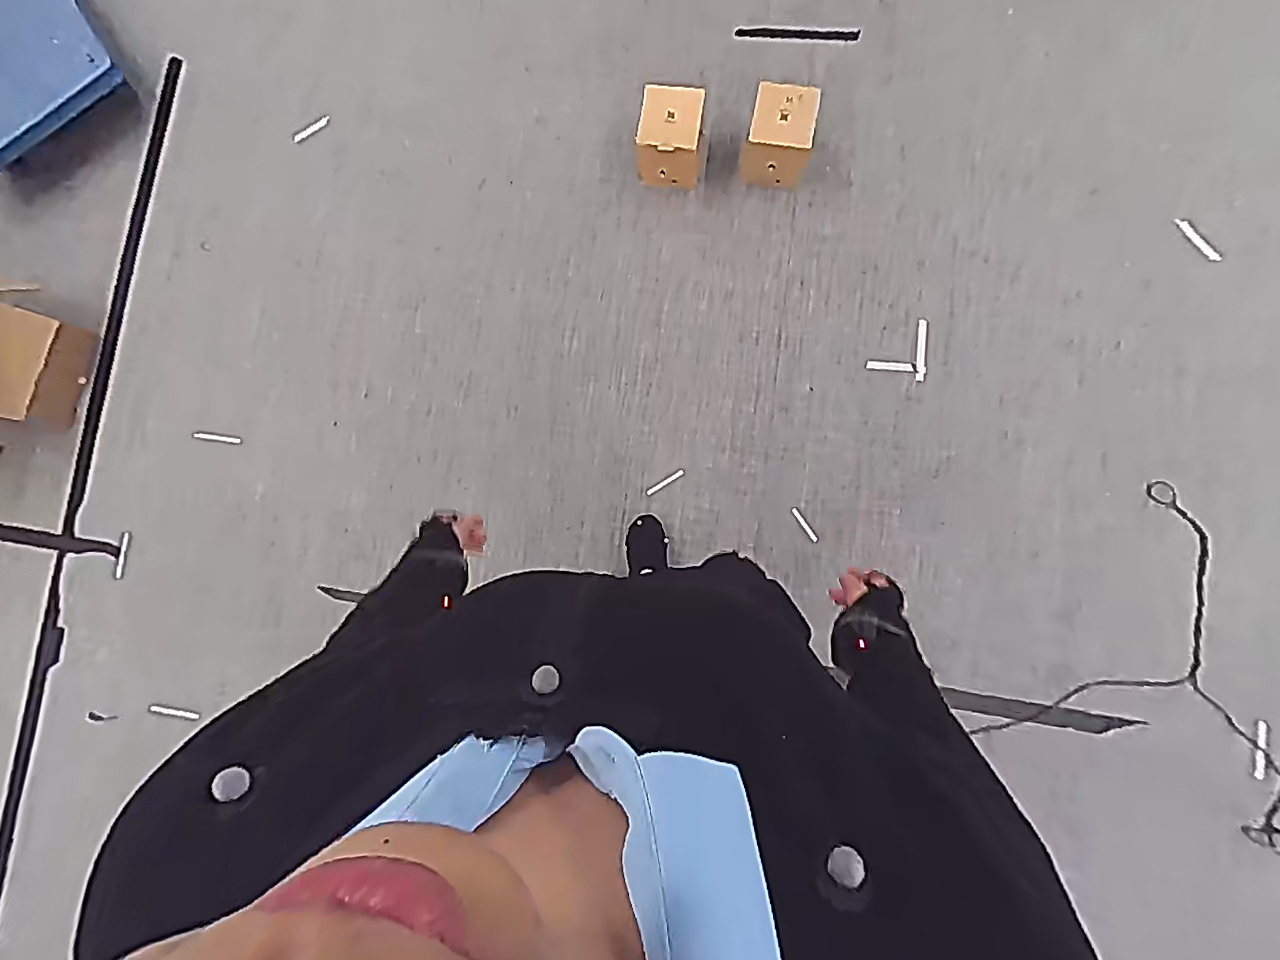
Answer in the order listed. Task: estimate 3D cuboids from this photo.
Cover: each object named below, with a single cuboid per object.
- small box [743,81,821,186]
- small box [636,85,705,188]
[{"bbox_3d":[0.385,-0.951,1.499,0.168,0.176,0.179,11,85,5],"label":"small box"},{"bbox_3d":[0.088,-0.964,1.526,0.168,0.176,0.179,8,85,6],"label":"small box"}]
